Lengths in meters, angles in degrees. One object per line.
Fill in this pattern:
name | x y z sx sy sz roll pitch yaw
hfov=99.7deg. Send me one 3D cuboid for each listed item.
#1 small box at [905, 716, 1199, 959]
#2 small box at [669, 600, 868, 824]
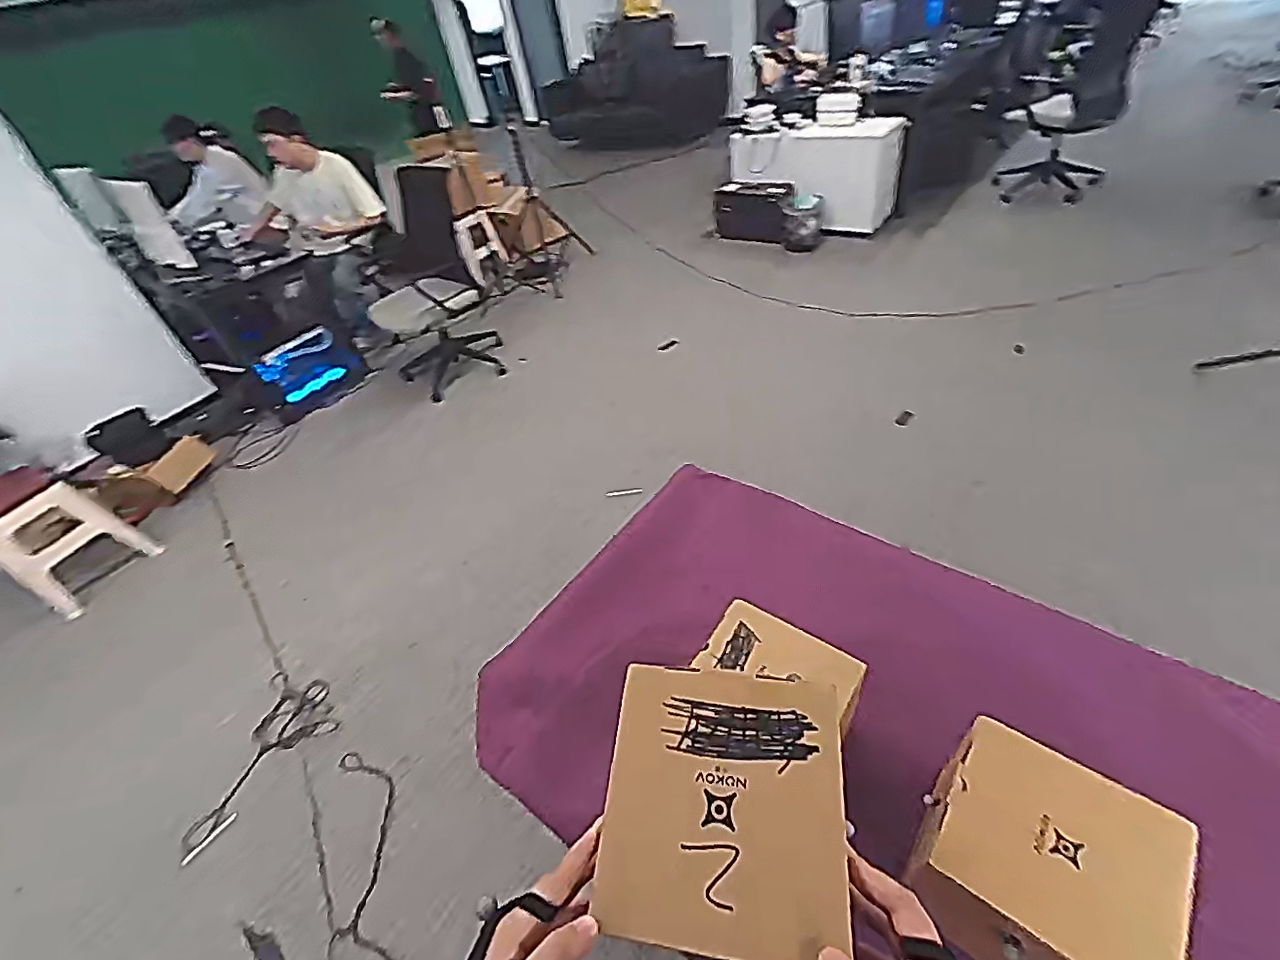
small box | 0.389 0.380 0.535 0.179 0.176 0.168 22 53 34
small box | 0.160 0.292 0.682 0.179 0.176 0.168 23 53 32
